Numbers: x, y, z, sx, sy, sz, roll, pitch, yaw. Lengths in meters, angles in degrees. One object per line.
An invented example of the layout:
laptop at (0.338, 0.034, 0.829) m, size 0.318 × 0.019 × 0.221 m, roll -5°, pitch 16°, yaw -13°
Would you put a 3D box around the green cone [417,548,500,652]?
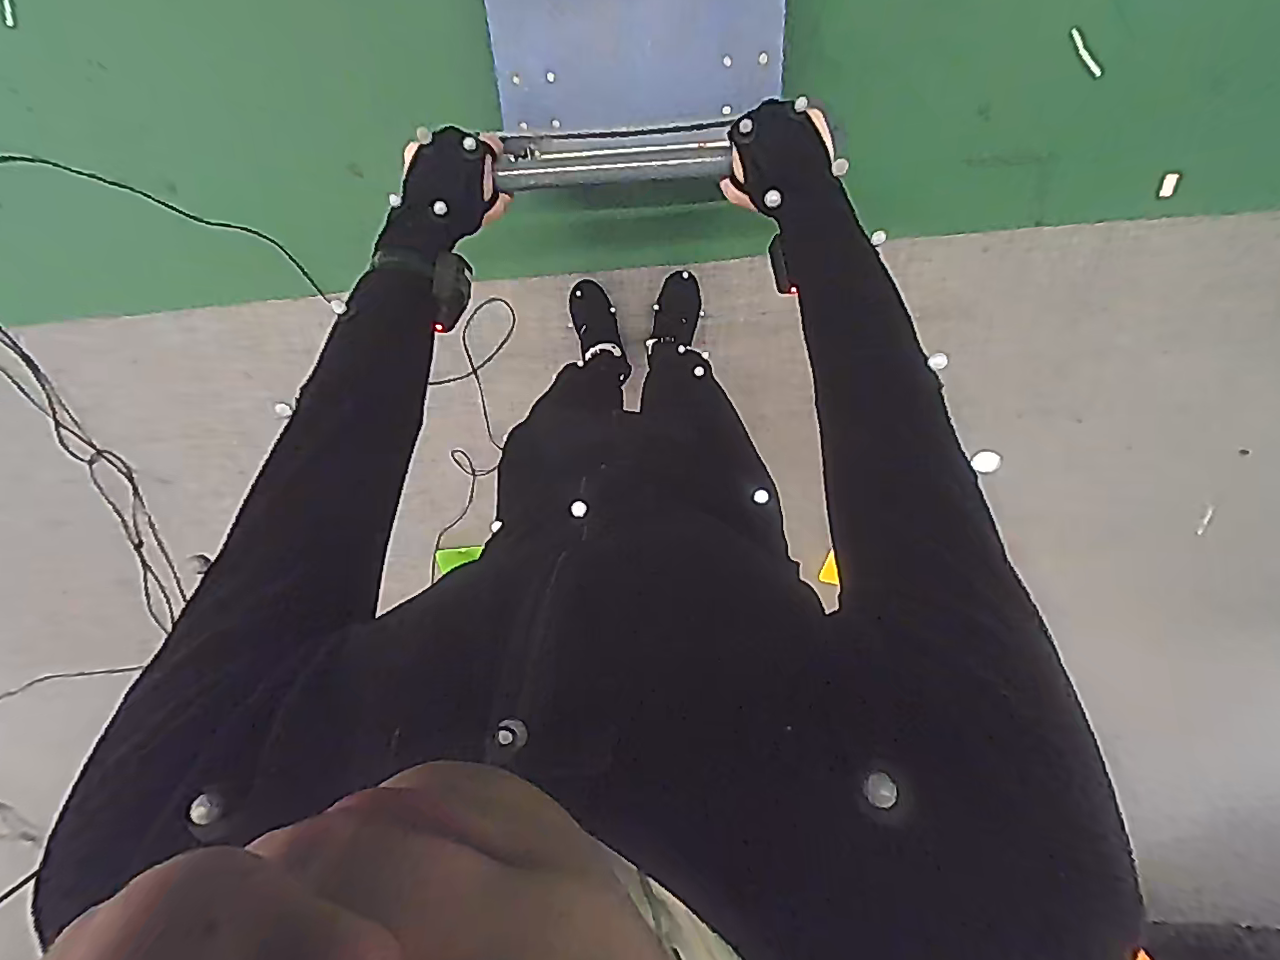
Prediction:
green cone at (-0.622, 0.407, 1.752) m, size 0.202 × 0.368 × 0.200 m, roll -6°, pitch 117°, yaw 9°
